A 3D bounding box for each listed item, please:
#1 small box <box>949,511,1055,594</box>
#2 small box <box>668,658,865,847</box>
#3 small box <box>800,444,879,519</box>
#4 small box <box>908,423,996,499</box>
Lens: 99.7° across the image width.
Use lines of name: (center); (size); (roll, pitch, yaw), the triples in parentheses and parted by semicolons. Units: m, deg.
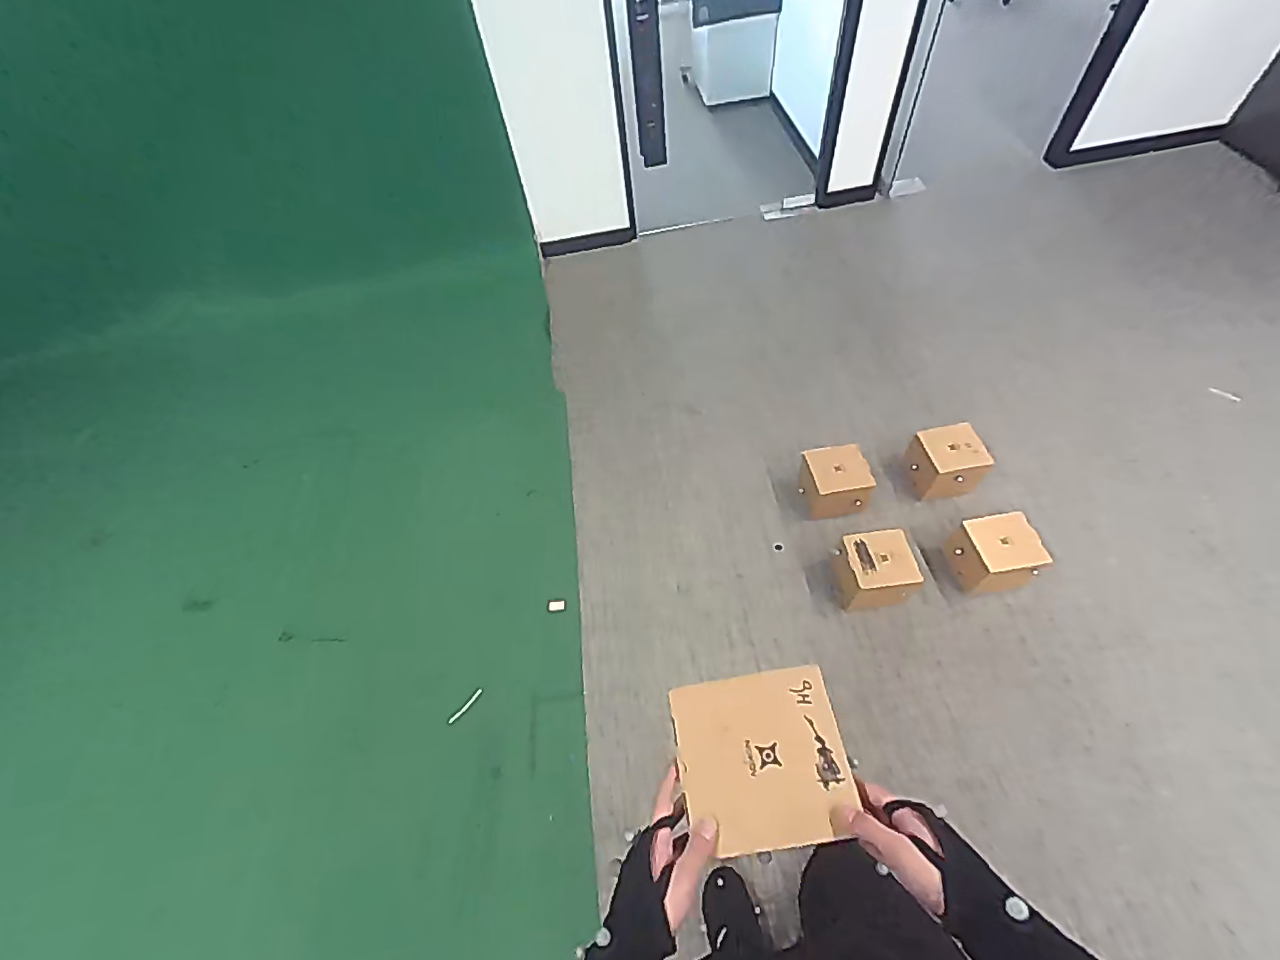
small box: (1.018, 0.214, 1.548); (0.179, 0.176, 0.168); (-10, 56, -1)
small box: (0.138, 0.323, 0.631); (0.179, 0.176, 0.168); (-11, 56, 5)
small box: (0.629, 0.008, 1.728); (0.179, 0.176, 0.168); (-9, 55, 1)
small box: (0.982, -0.055, 1.727); (0.179, 0.176, 0.168); (-10, 56, 0)
